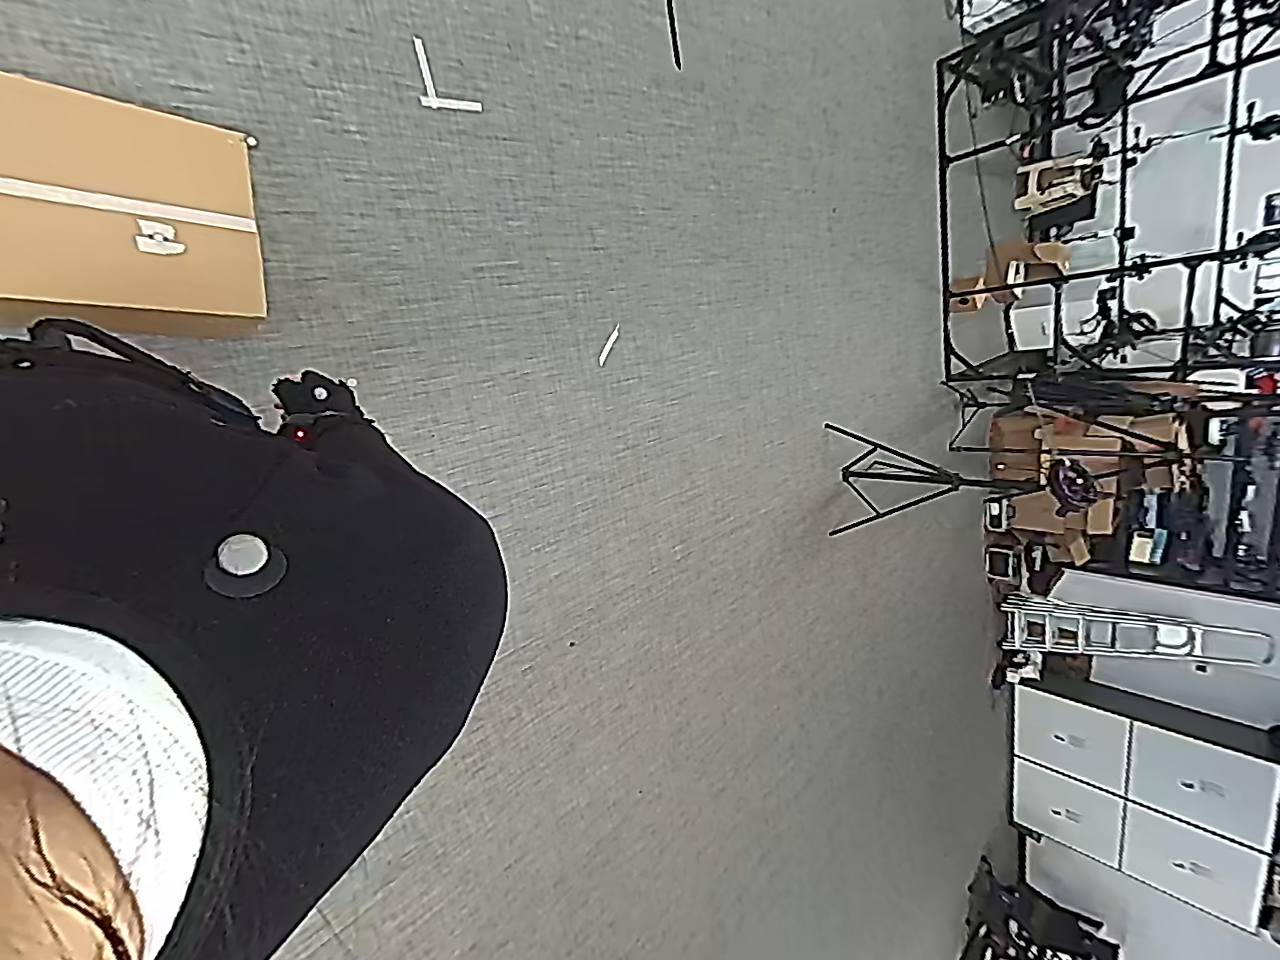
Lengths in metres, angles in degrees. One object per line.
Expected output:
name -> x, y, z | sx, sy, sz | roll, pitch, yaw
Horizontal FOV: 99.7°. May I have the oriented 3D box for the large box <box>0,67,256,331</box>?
large box -> -0.946, -0.447, 0.934 | 0.408, 0.320, 0.320 | -8, 100, -42
